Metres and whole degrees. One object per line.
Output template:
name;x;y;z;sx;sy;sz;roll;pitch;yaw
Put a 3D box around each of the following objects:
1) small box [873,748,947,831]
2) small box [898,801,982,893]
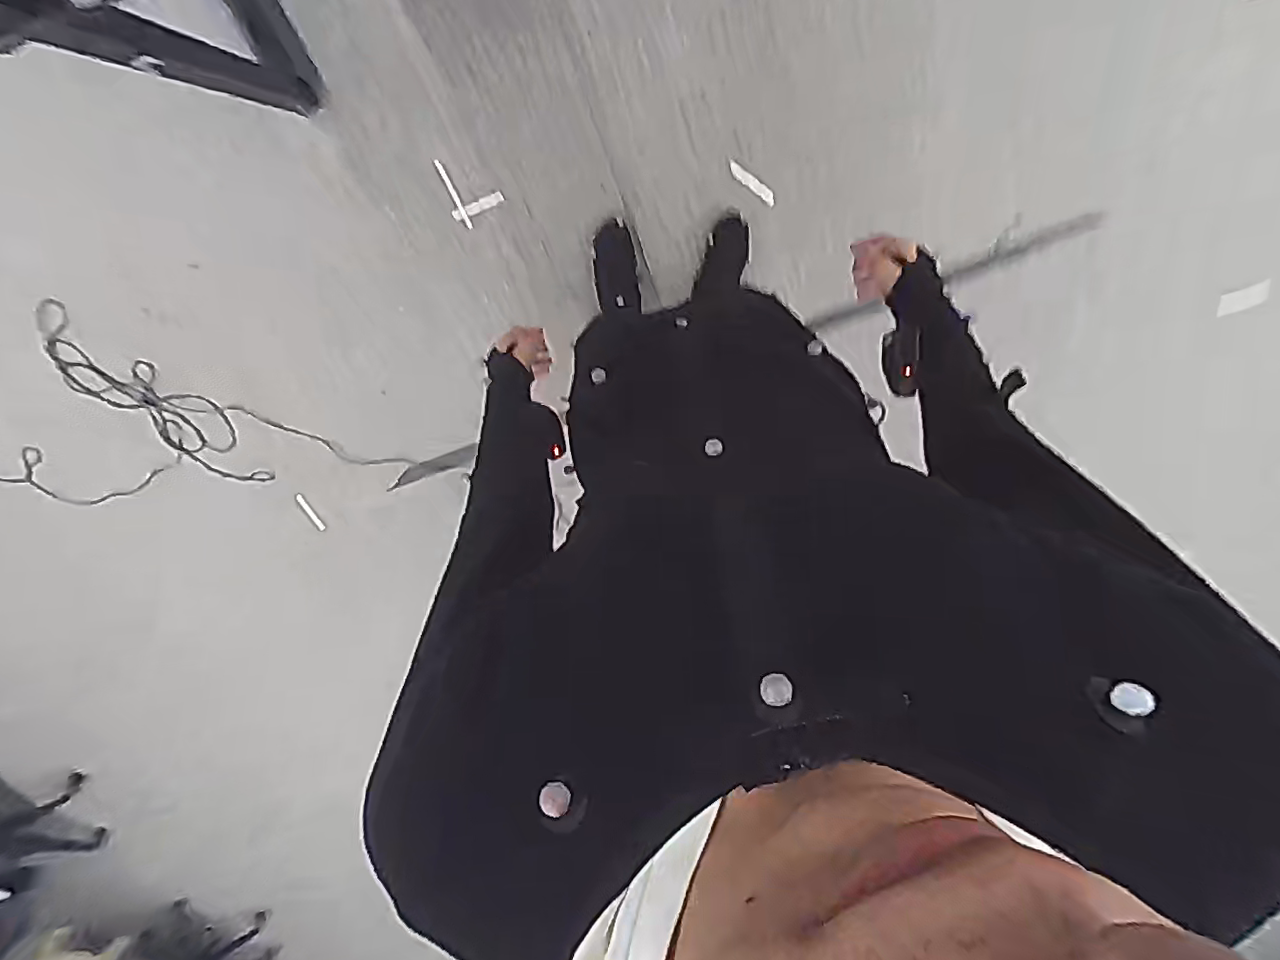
small box;0.910;1.043;1.820;0.168;0.176;0.179;-22;117;5
small box;0.928;1.131;1.681;0.168;0.176;0.179;-22;118;5
